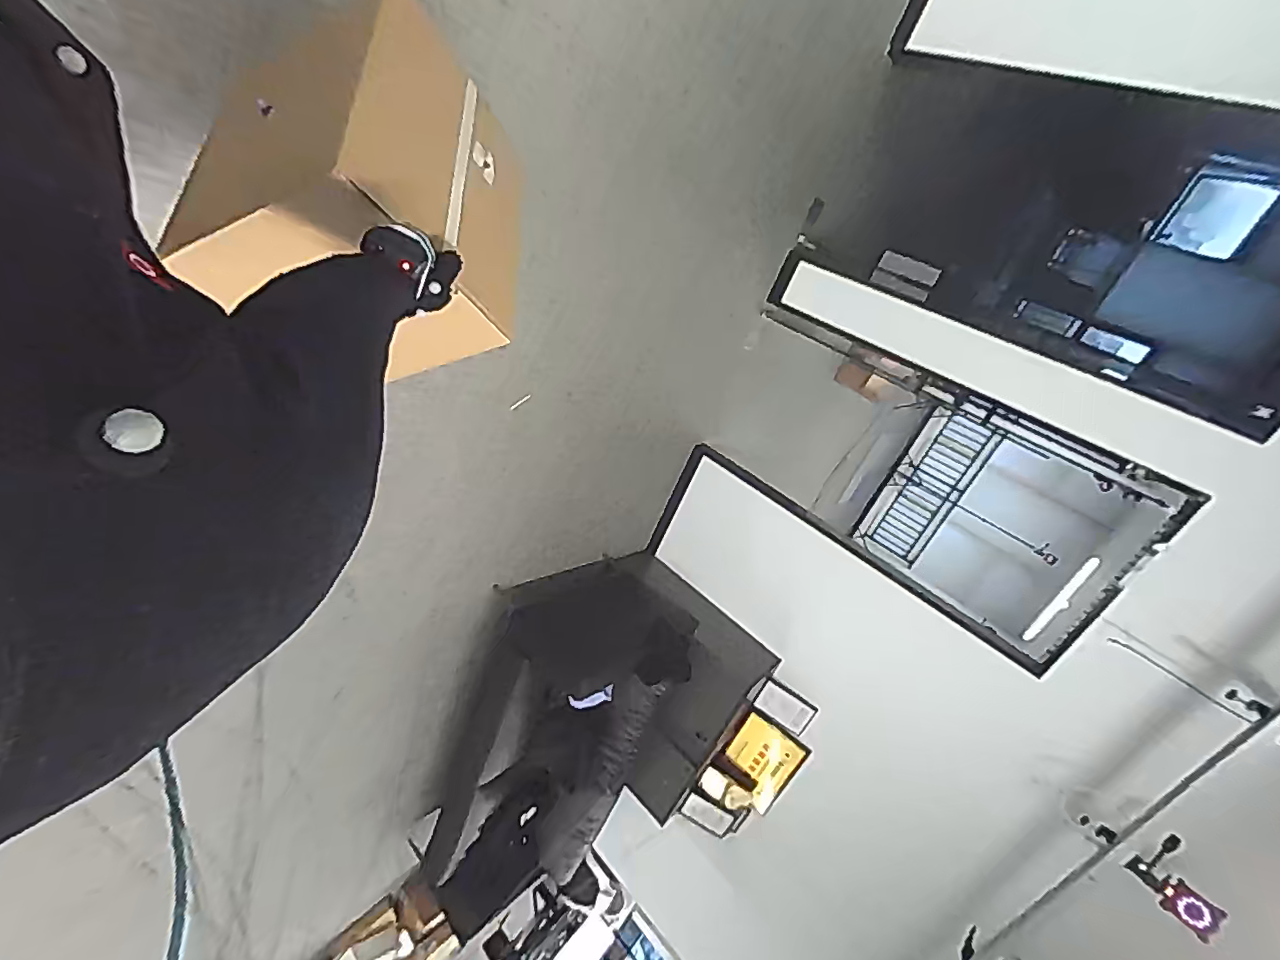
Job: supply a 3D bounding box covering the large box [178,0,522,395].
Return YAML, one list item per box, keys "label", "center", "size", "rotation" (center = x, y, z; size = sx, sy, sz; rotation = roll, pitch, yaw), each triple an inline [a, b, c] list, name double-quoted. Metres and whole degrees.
- label: "large box"
  center: [-0.401, -0.403, 0.829]
  size: [0.320, 0.408, 0.320]
  rotation: [-13, 154, 19]
